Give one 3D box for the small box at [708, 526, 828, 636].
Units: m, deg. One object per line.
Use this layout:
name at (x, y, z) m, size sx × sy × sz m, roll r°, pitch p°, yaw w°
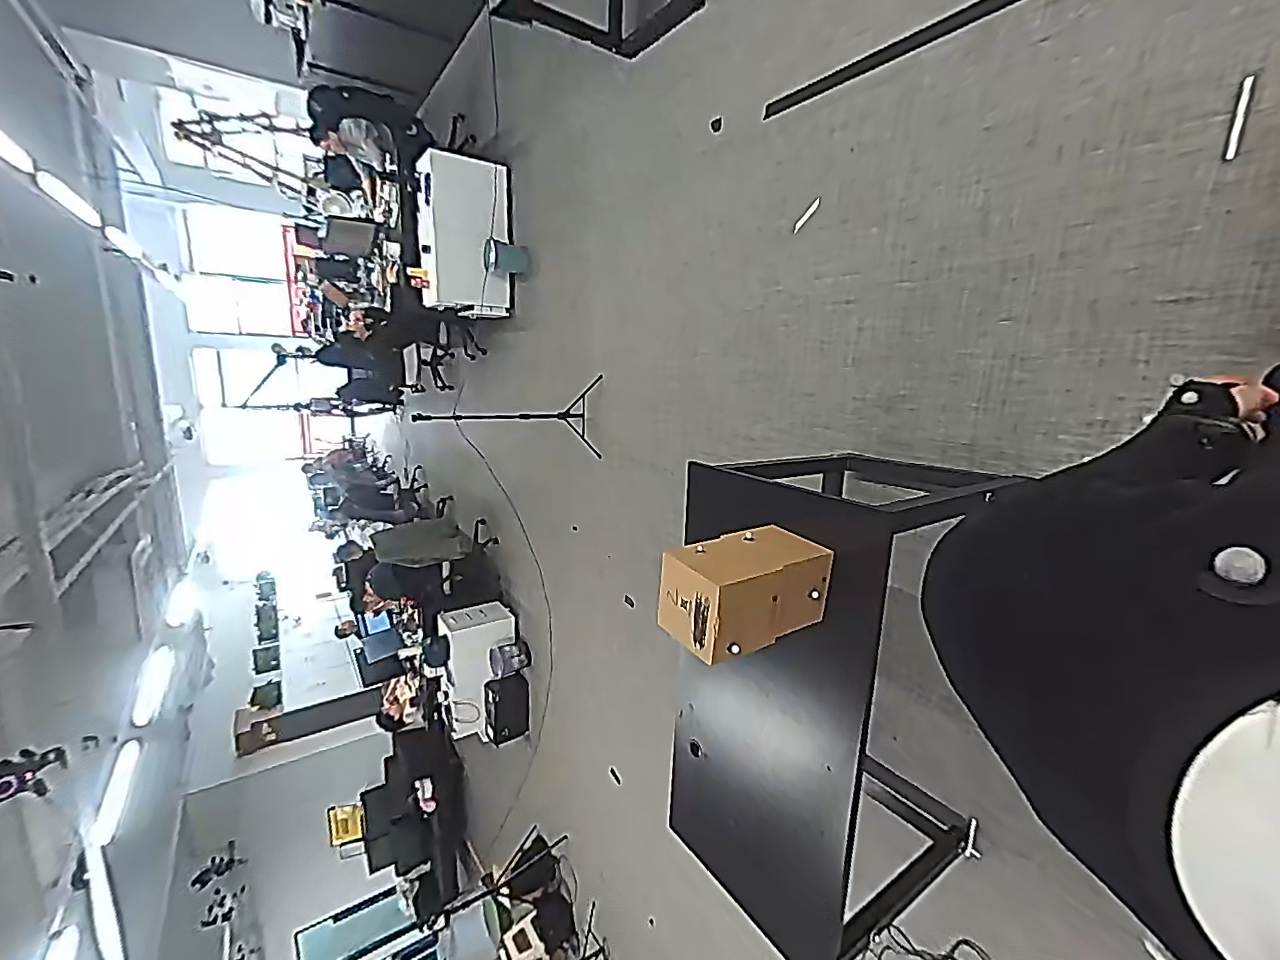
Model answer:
small box at (0.275, 0.208, 1.174) m, size 0.179 × 0.176 × 0.168 m, roll 26°, pitch 118°, yaw 52°
